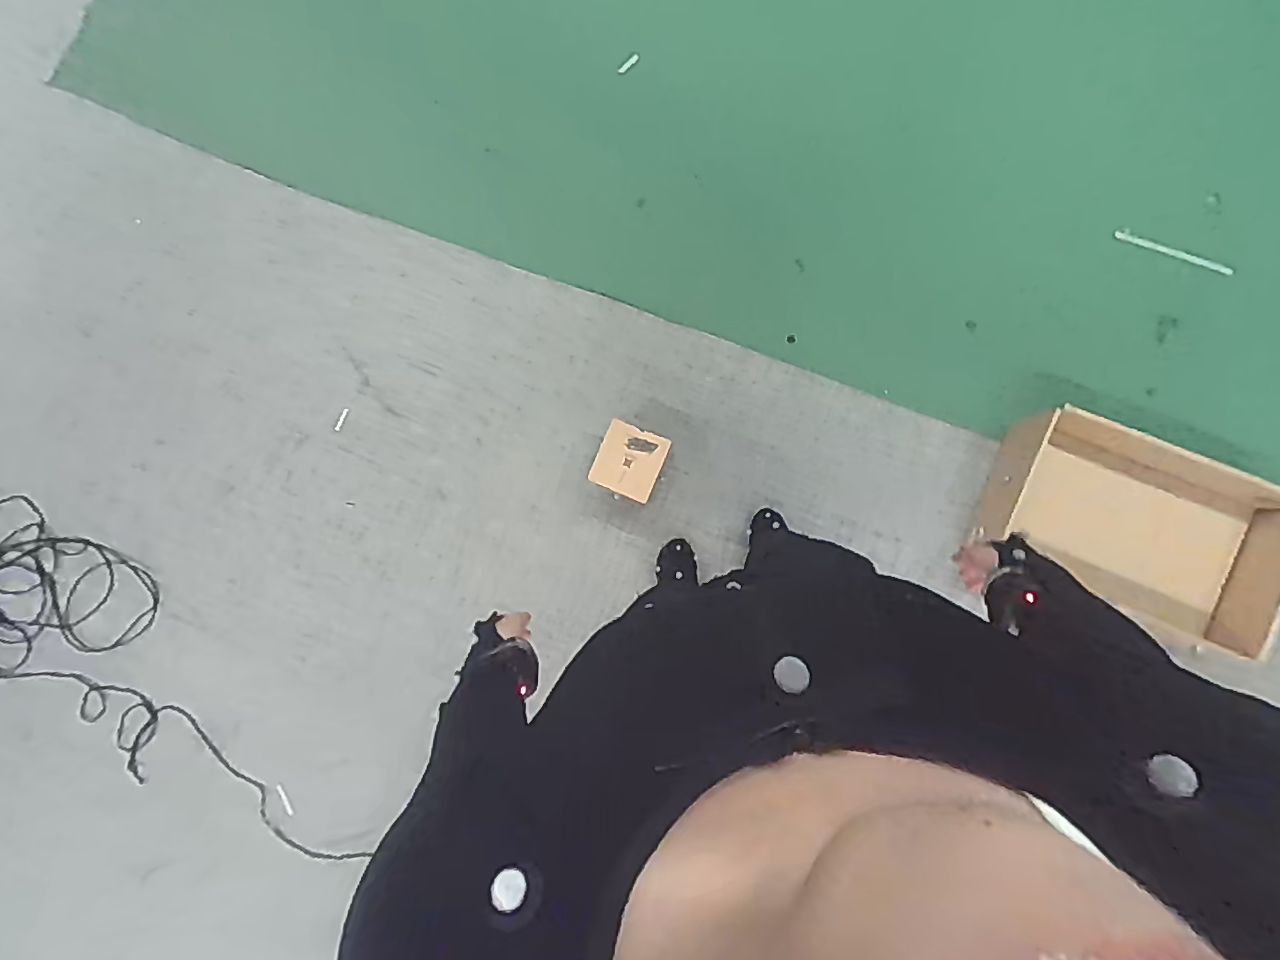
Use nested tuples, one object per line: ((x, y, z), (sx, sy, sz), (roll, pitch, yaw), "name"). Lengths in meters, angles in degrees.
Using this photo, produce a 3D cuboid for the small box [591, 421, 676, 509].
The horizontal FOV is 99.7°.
((-0.013, -0.033, 1.427), (0.168, 0.176, 0.179), (23, 89, 5), "small box")
